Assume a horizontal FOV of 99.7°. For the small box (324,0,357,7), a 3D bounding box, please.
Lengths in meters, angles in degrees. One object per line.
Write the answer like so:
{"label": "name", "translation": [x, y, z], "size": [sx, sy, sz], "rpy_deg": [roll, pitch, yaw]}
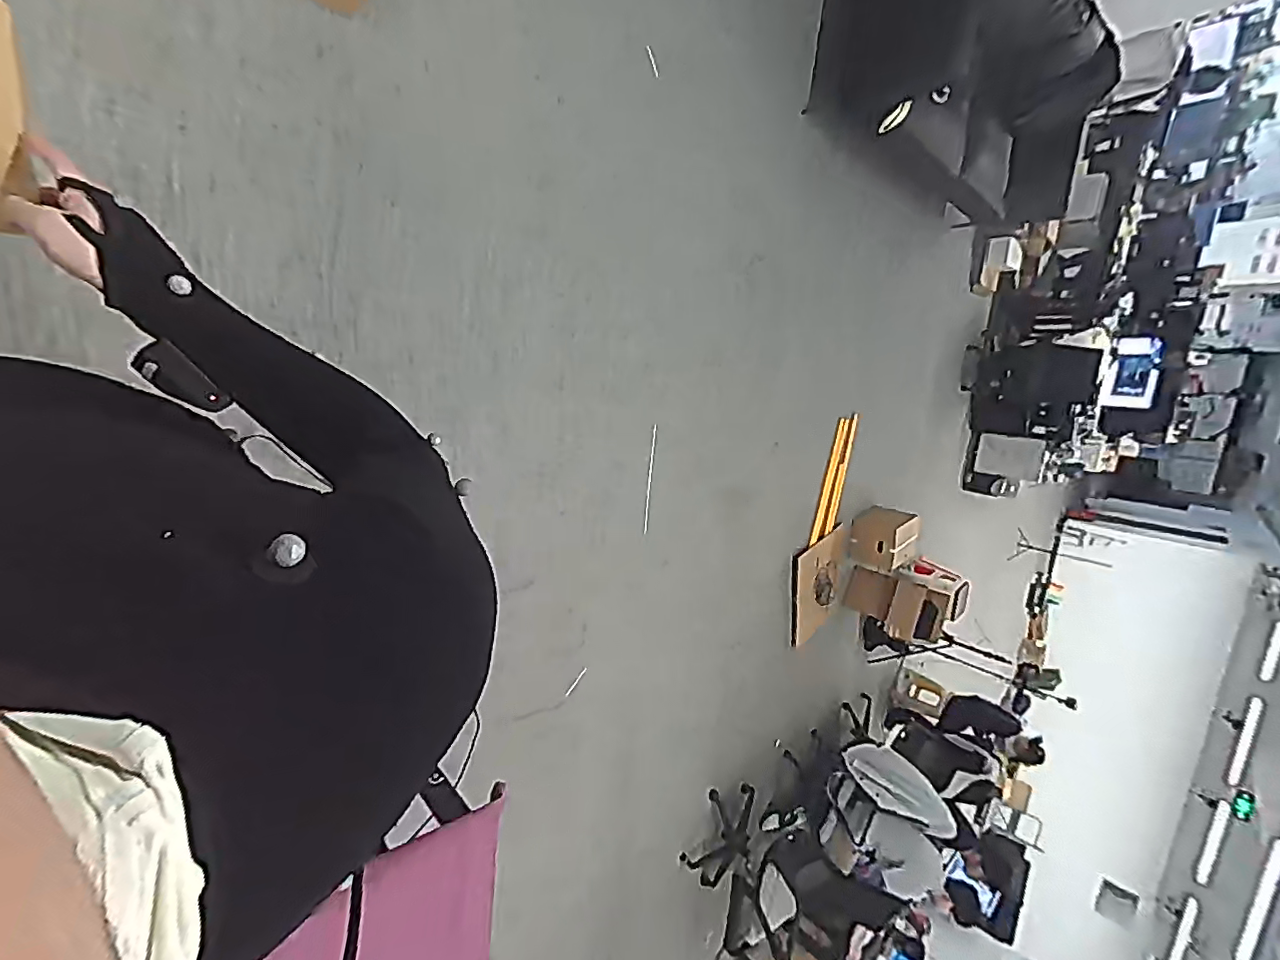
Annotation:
{"label": "small box", "translation": [-0.698, -1.187, 1.179], "size": [0.179, 0.176, 0.168], "rpy_deg": [-3, 103, -43]}

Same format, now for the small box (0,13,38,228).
{"label": "small box", "translation": [-0.618, -0.321, 0.432], "size": [0.168, 0.176, 0.179], "rpy_deg": [-5, 117, -43]}

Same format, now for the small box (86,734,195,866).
{"label": "small box", "translation": [-1.164, 0.735, 1.264], "size": [0.179, 0.176, 0.168], "rpy_deg": [-3, 104, -44]}
